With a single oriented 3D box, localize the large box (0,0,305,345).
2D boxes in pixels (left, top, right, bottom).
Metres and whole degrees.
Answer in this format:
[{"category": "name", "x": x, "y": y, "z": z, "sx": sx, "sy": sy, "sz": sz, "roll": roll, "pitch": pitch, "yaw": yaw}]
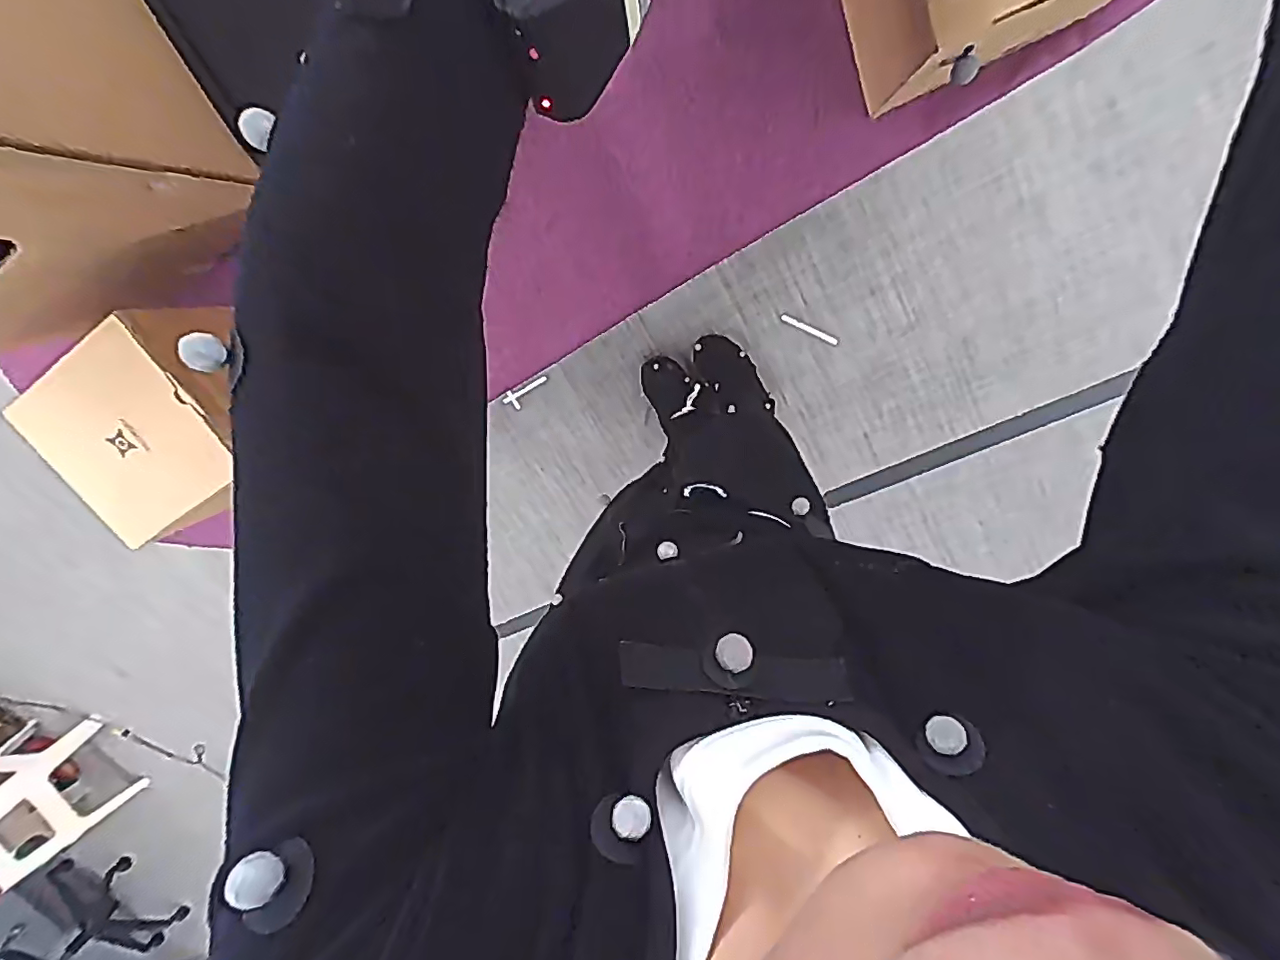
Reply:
[{"category": "large box", "x": -0.586, "y": -0.349, "z": 0.411, "sx": 0.320, "sy": 0.320, "sz": 0.408, "roll": -26, "pitch": 109, "yaw": 18}]
